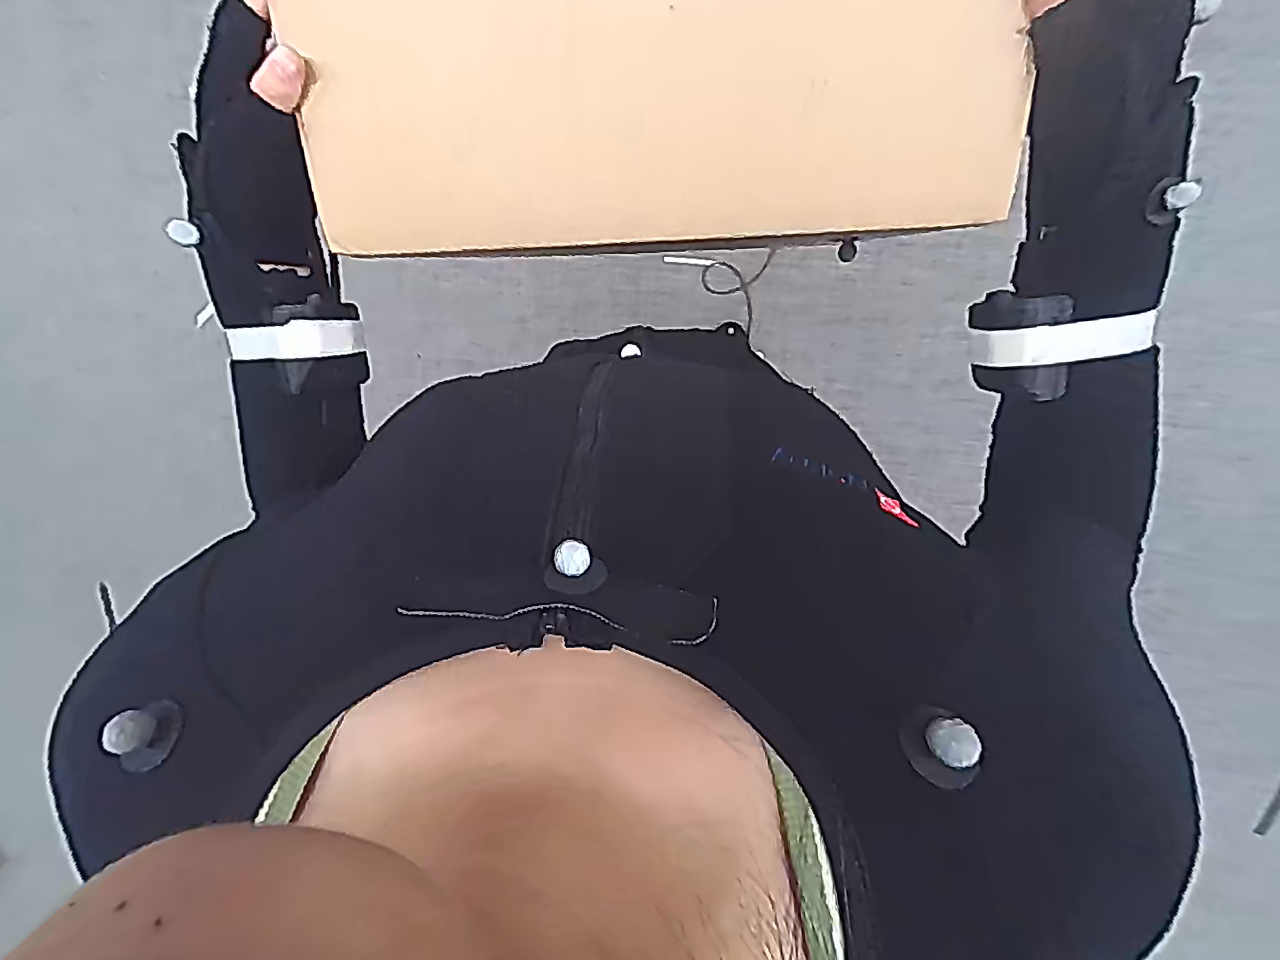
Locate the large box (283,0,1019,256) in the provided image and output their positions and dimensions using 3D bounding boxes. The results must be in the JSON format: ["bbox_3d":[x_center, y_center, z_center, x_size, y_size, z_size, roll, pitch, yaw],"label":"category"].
[{"bbox_3d":[0.010,-0.351,0.413,0.408,0.320,0.320,-1,112,5],"label":"large box"}]
